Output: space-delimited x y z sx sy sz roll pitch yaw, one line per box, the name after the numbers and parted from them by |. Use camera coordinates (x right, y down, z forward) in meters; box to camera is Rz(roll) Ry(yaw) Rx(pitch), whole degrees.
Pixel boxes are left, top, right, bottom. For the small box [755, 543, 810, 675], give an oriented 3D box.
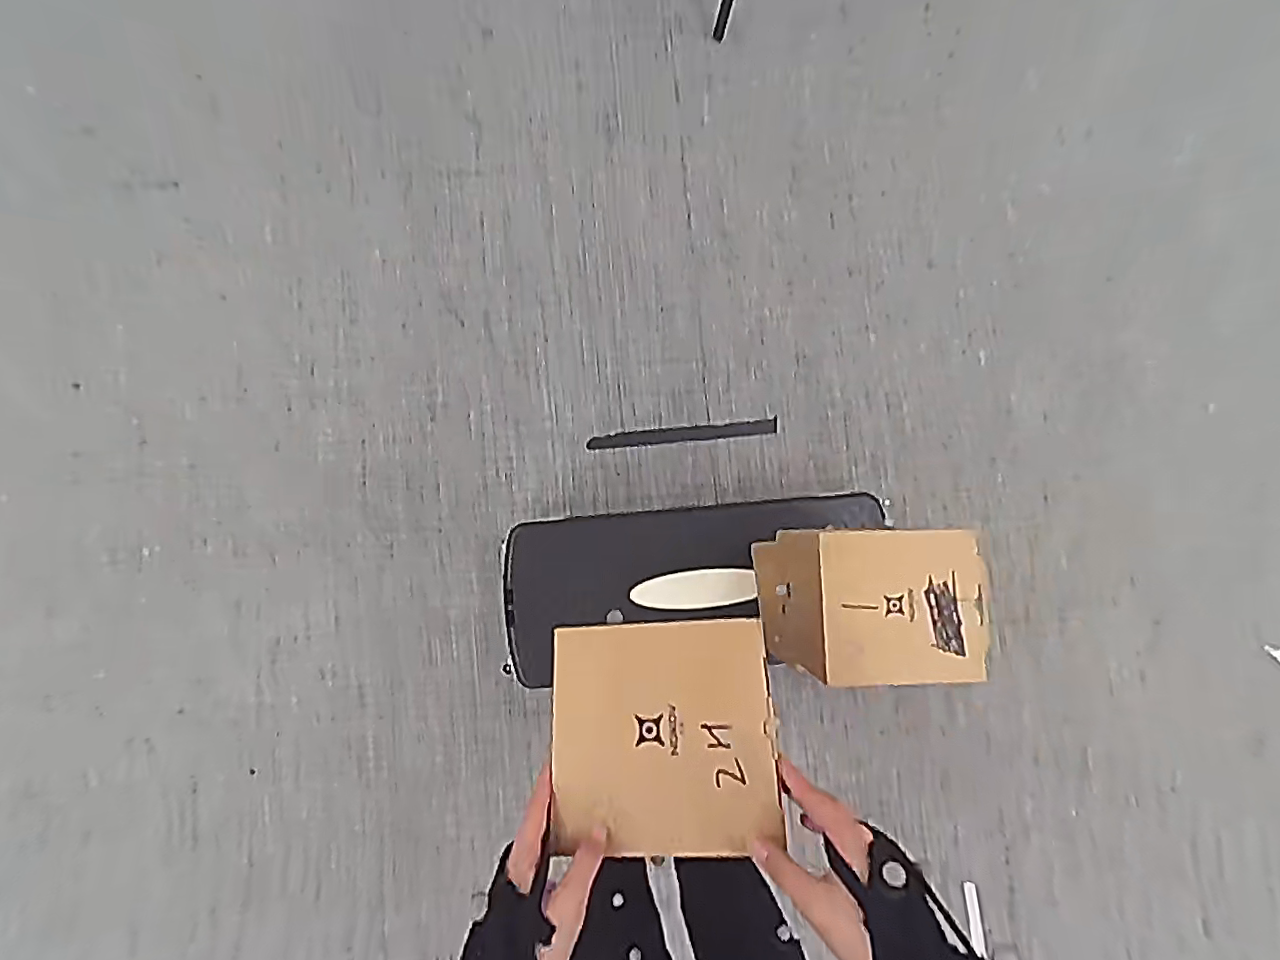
0.282 0.180 0.822 0.168 0.176 0.179 -7 85 -3 | small box

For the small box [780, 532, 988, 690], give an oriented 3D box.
0.282 0.148 0.660 0.179 0.176 0.168 -1 84 -1 | small box

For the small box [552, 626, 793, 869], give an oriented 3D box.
0.032 0.227 0.486 0.179 0.176 0.168 -4 69 7 | small box
